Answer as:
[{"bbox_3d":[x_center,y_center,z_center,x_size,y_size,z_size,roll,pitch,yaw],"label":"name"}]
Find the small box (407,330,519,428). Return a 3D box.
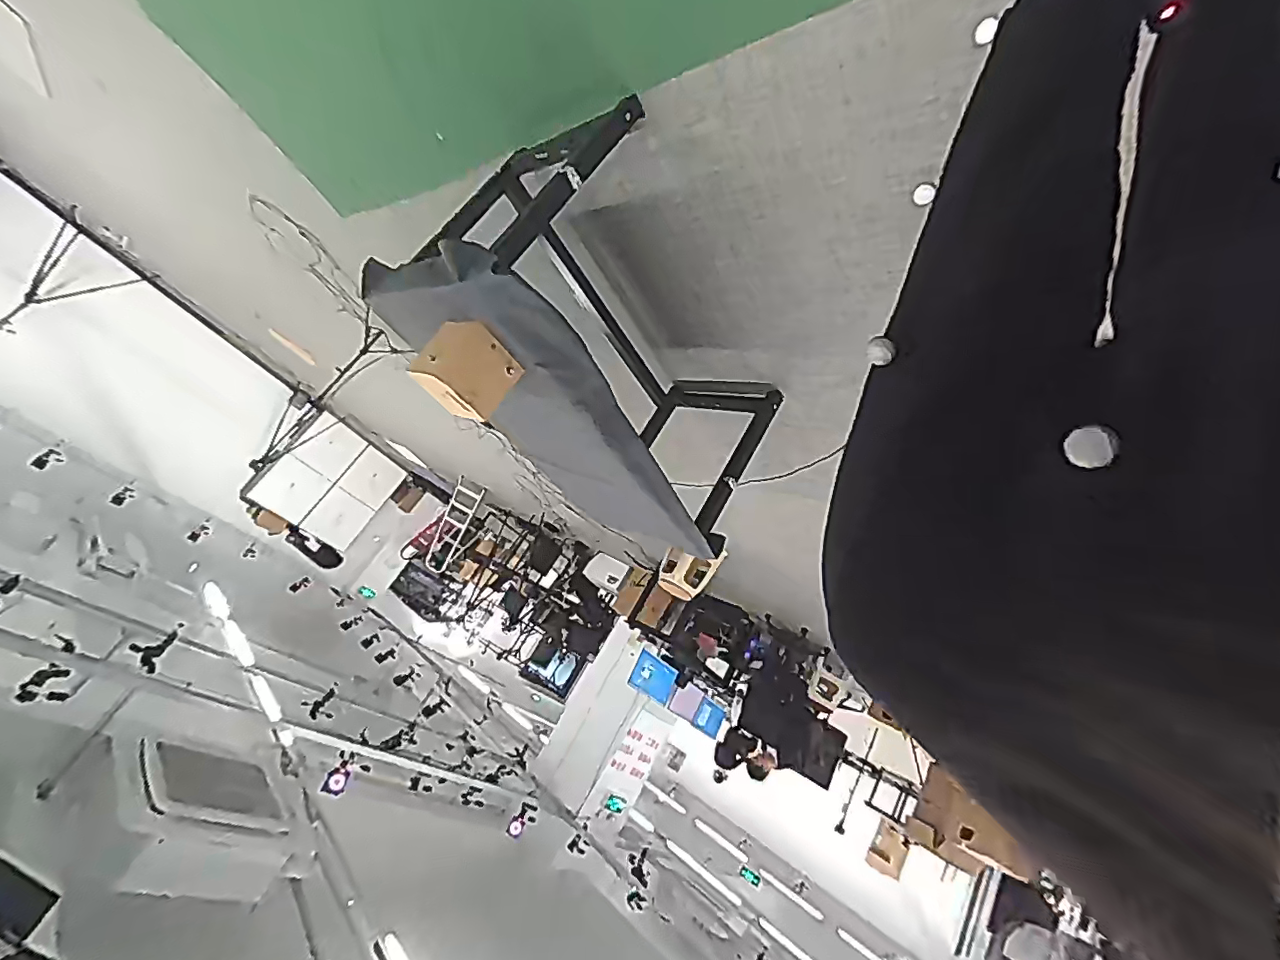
[{"bbox_3d":[-0.424,-0.249,1.323,0.179,0.176,0.168,16,155,44],"label":"small box"}]
